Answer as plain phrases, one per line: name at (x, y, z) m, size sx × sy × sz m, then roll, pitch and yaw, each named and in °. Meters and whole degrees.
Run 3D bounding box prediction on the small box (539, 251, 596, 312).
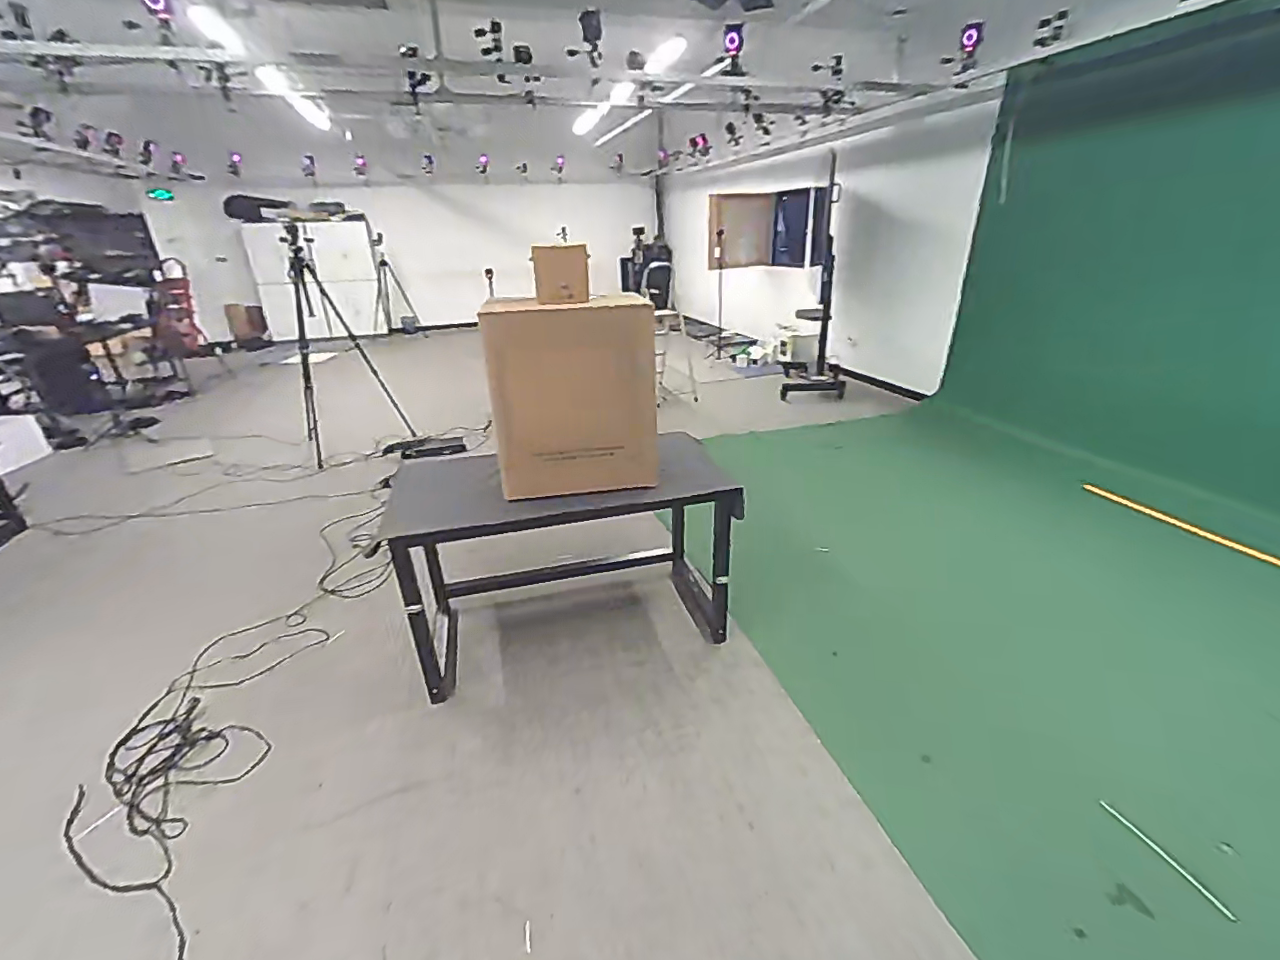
small box at (-0.231, -0.636, 1.726) m, size 0.168 × 0.176 × 0.179 m, roll -5°, pitch 26°, yaw -7°
